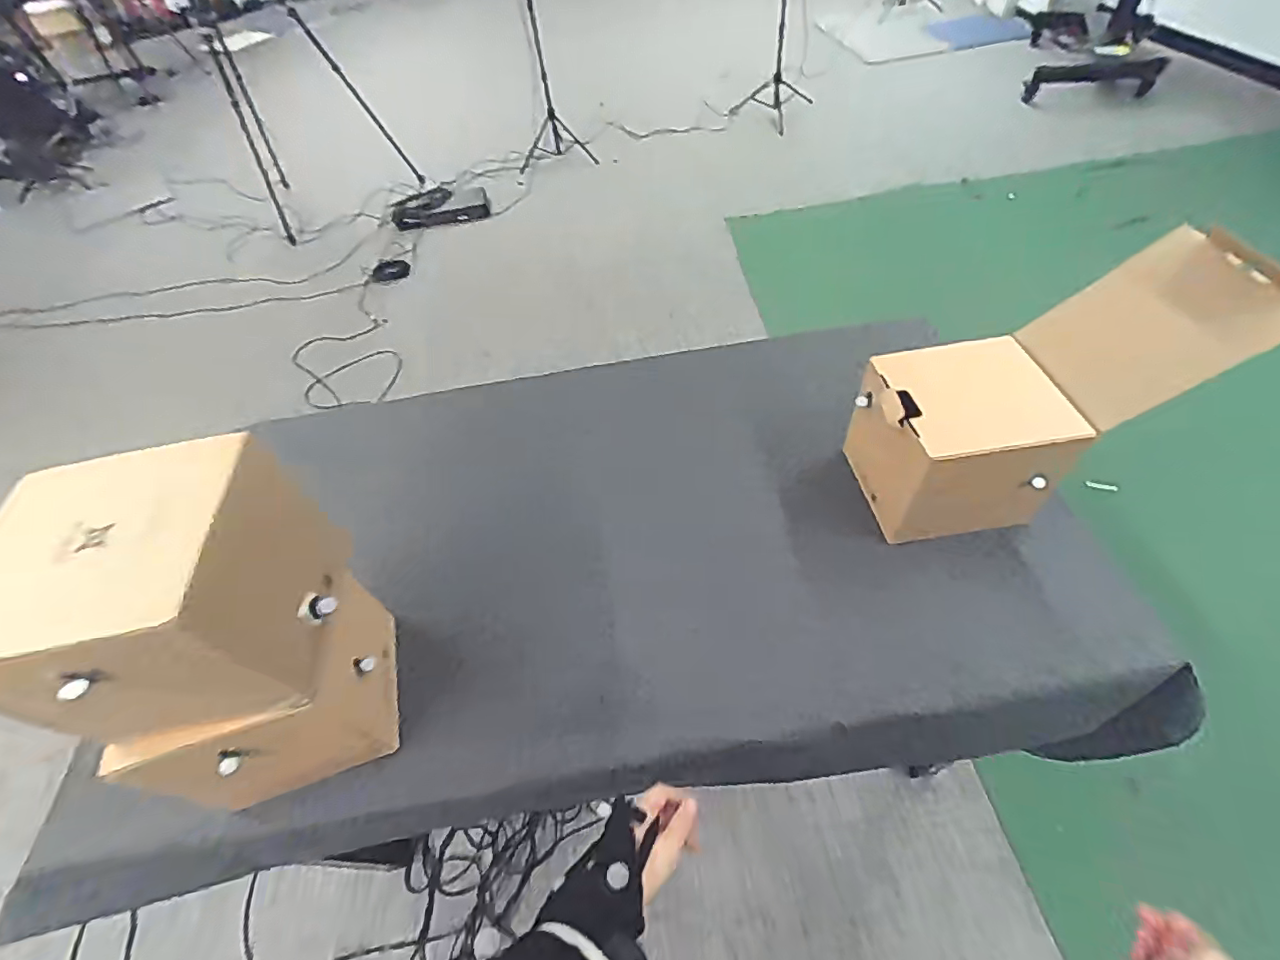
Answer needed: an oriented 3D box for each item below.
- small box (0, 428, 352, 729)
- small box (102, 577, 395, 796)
[{"bbox_3d":[-0.372,0.086,0.439,0.179,0.176,0.168,-11,52,-3],"label":"small box"},{"bbox_3d":[-0.370,0.199,0.557,0.179,0.176,0.168,-17,51,-7],"label":"small box"}]
